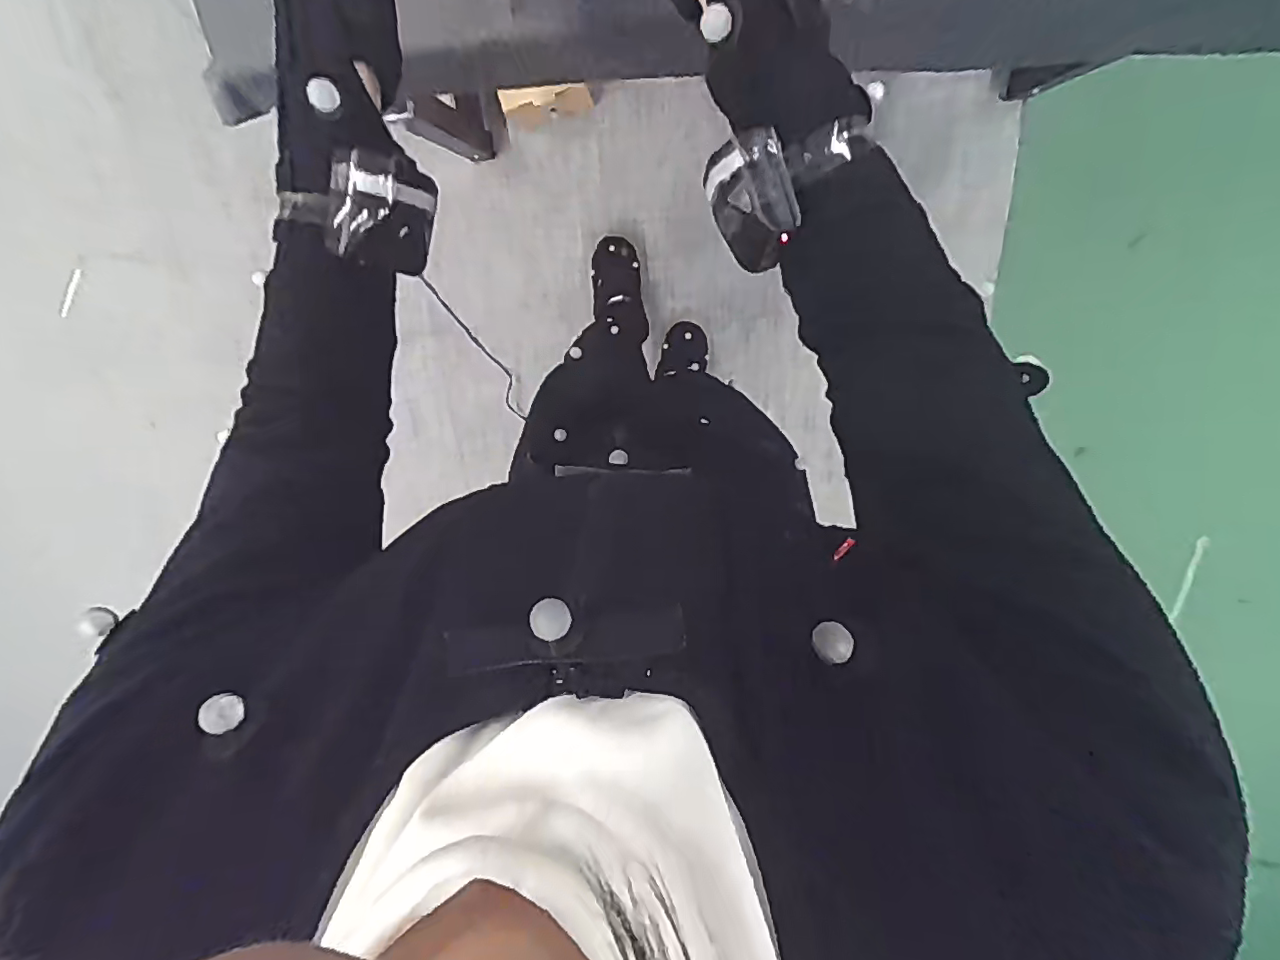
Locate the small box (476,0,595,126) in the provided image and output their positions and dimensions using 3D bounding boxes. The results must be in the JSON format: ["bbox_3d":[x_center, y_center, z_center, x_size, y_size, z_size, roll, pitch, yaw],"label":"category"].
[{"bbox_3d":[-0.192,-0.820,1.059,0.168,0.176,0.179,-12,112,7],"label":"small box"}]
